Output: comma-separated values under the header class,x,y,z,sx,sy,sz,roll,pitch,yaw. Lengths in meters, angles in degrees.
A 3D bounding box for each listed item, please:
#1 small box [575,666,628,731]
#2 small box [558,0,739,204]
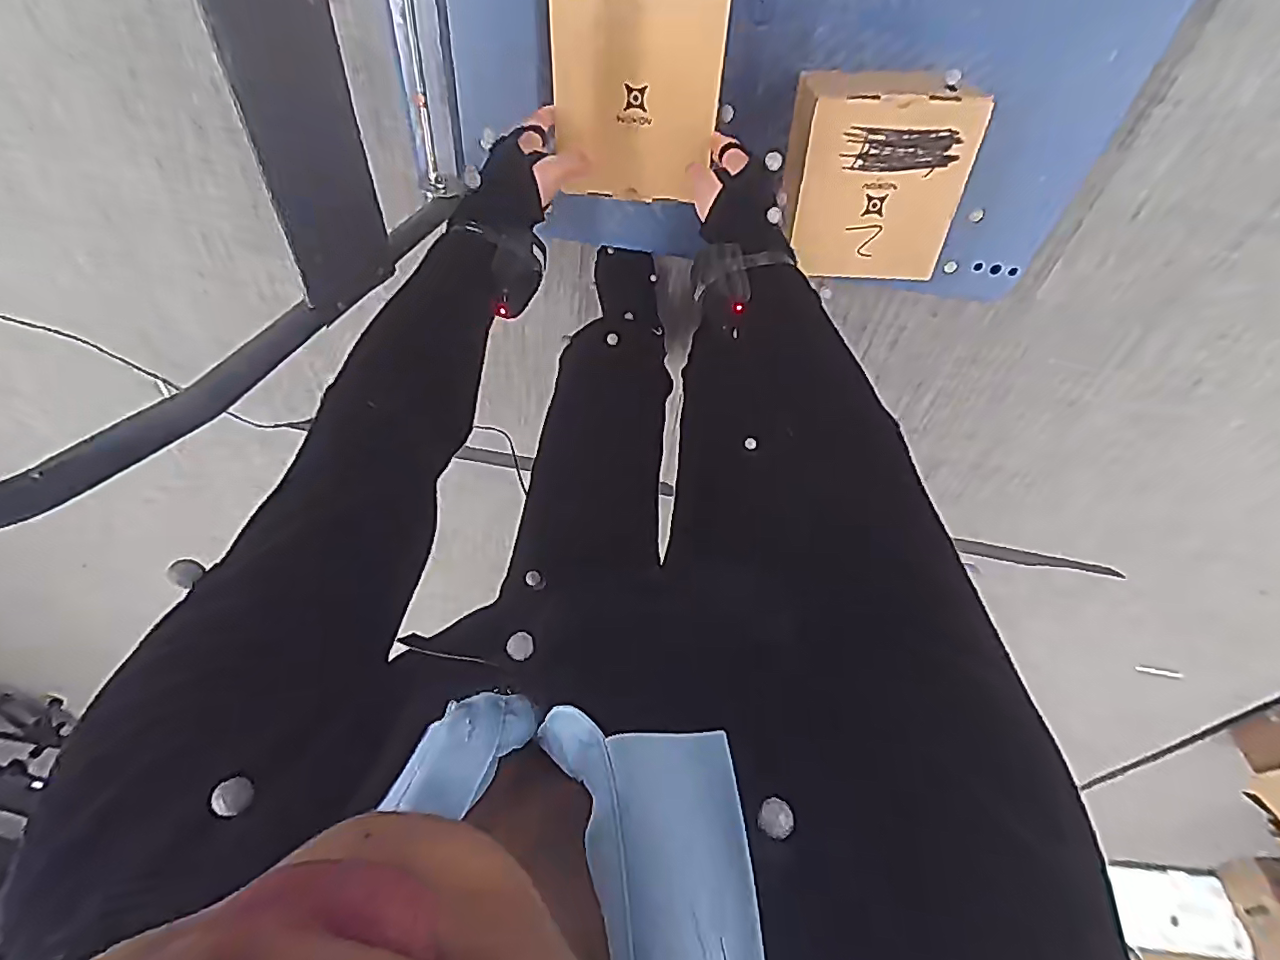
class,x,y,z,sx,sy,sz,roll,pitch,yaw
small box,-0.140,0.831,2.059,0.168,0.176,0.179,1,133,7
small box,0.007,-0.424,0.590,0.168,0.176,0.179,5,133,1
